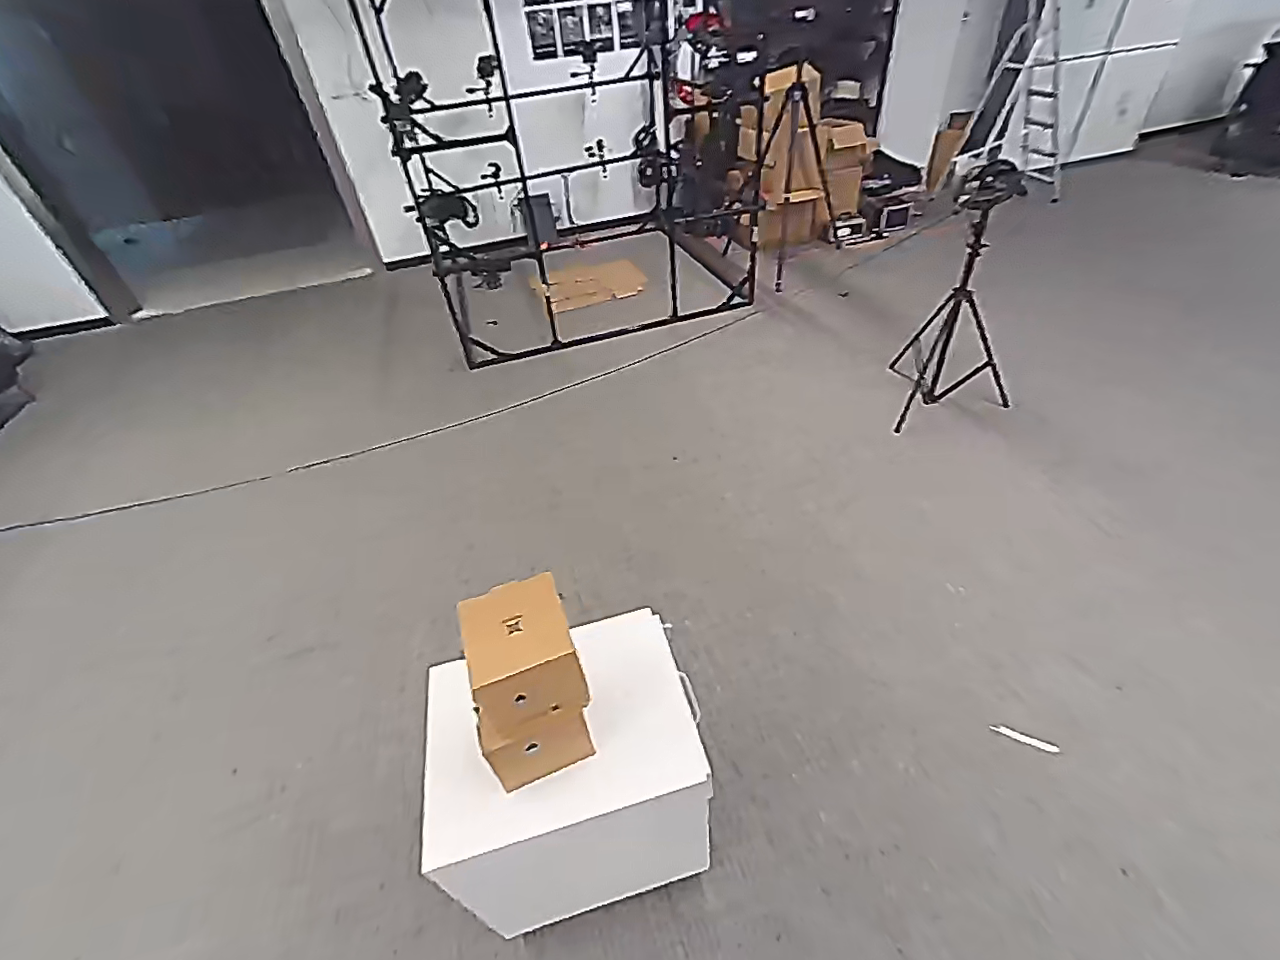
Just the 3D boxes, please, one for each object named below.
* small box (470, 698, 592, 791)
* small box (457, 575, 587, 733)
[{"bbox_3d":[-0.203,0.441,1.008,0.179,0.176,0.168,-18,41,-14],"label":"small box"},{"bbox_3d":[-0.198,0.301,0.921,0.168,0.176,0.179,-17,41,-13],"label":"small box"}]
